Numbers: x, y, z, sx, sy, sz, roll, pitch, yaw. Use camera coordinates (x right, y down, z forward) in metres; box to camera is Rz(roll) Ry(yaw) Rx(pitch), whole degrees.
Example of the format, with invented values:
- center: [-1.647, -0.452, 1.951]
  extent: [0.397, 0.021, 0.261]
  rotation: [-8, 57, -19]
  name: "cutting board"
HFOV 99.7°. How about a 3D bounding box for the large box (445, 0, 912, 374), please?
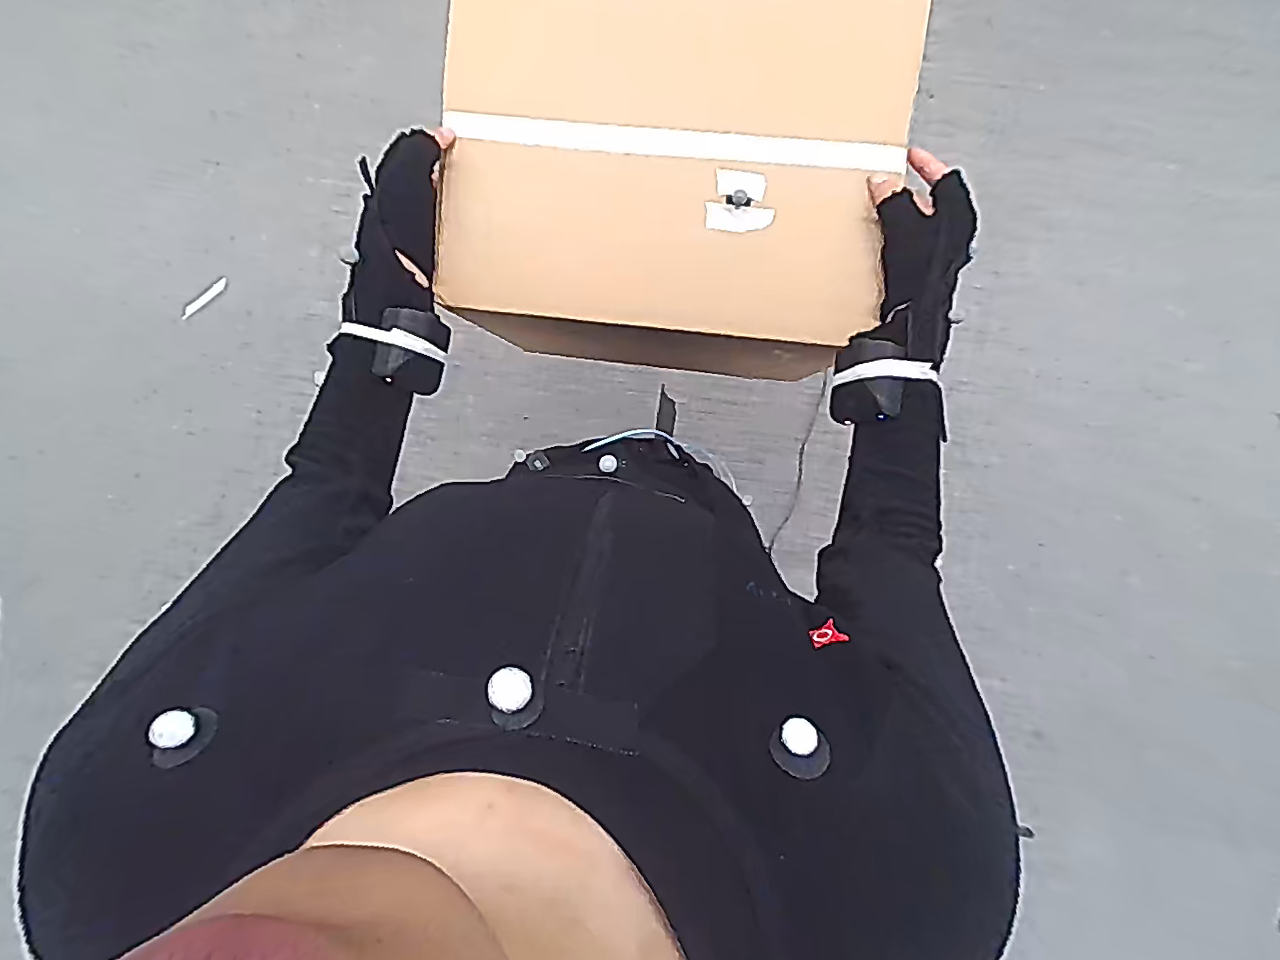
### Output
- center: [0.031, -0.310, 0.636]
  extent: [0.408, 0.320, 0.320]
  rotation: [6, 97, 3]
  name: "large box"
